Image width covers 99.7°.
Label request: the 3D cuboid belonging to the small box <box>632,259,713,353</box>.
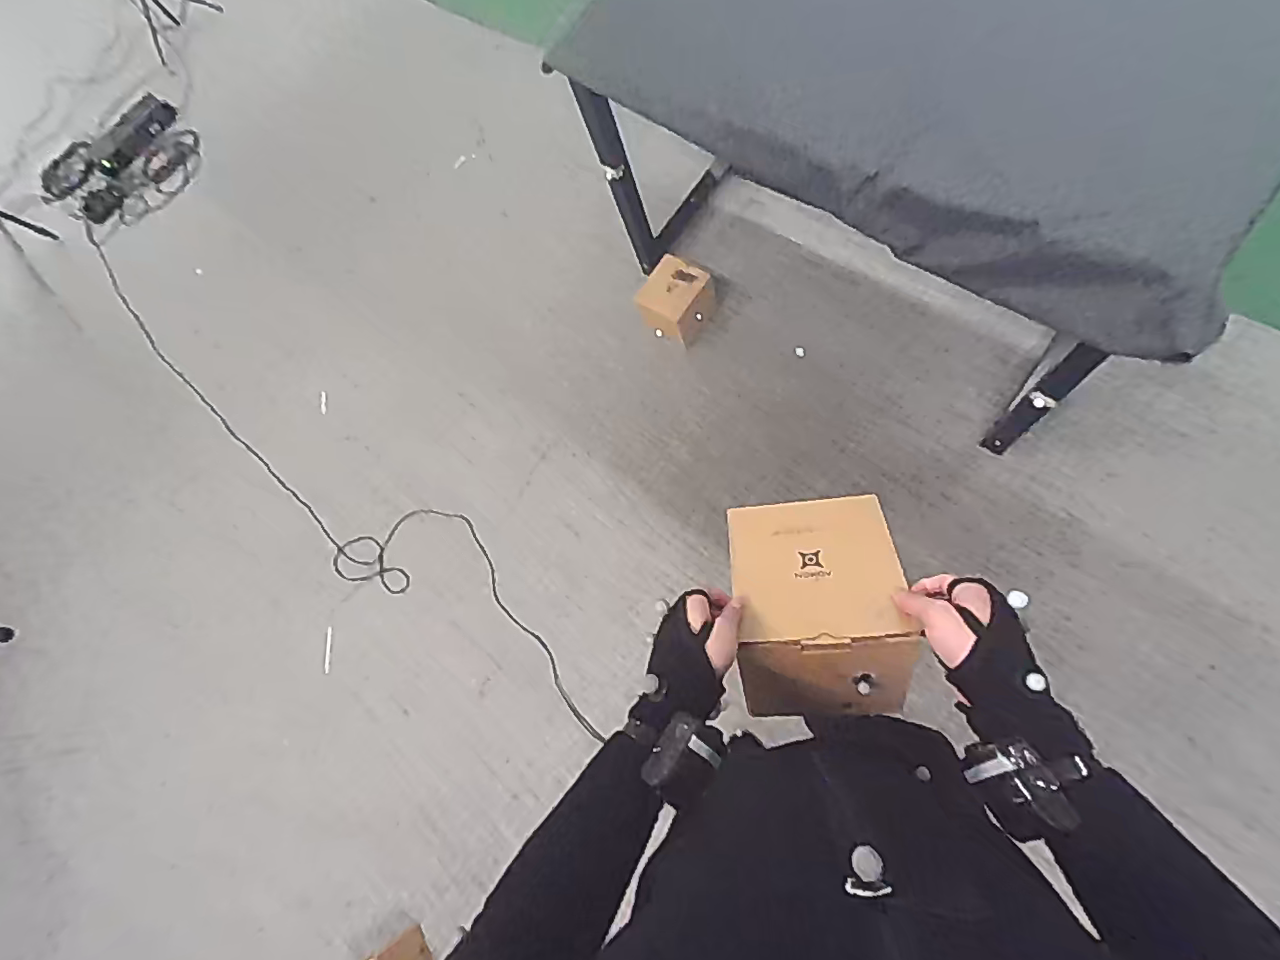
[{"bbox_3d":[0.106,-0.520,1.631,0.168,0.176,0.179,34,86,22],"label":"small box"}]

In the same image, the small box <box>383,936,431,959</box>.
[{"bbox_3d":[-0.599,1.246,1.282,0.179,0.176,0.168,-36,69,2],"label":"small box"}]
